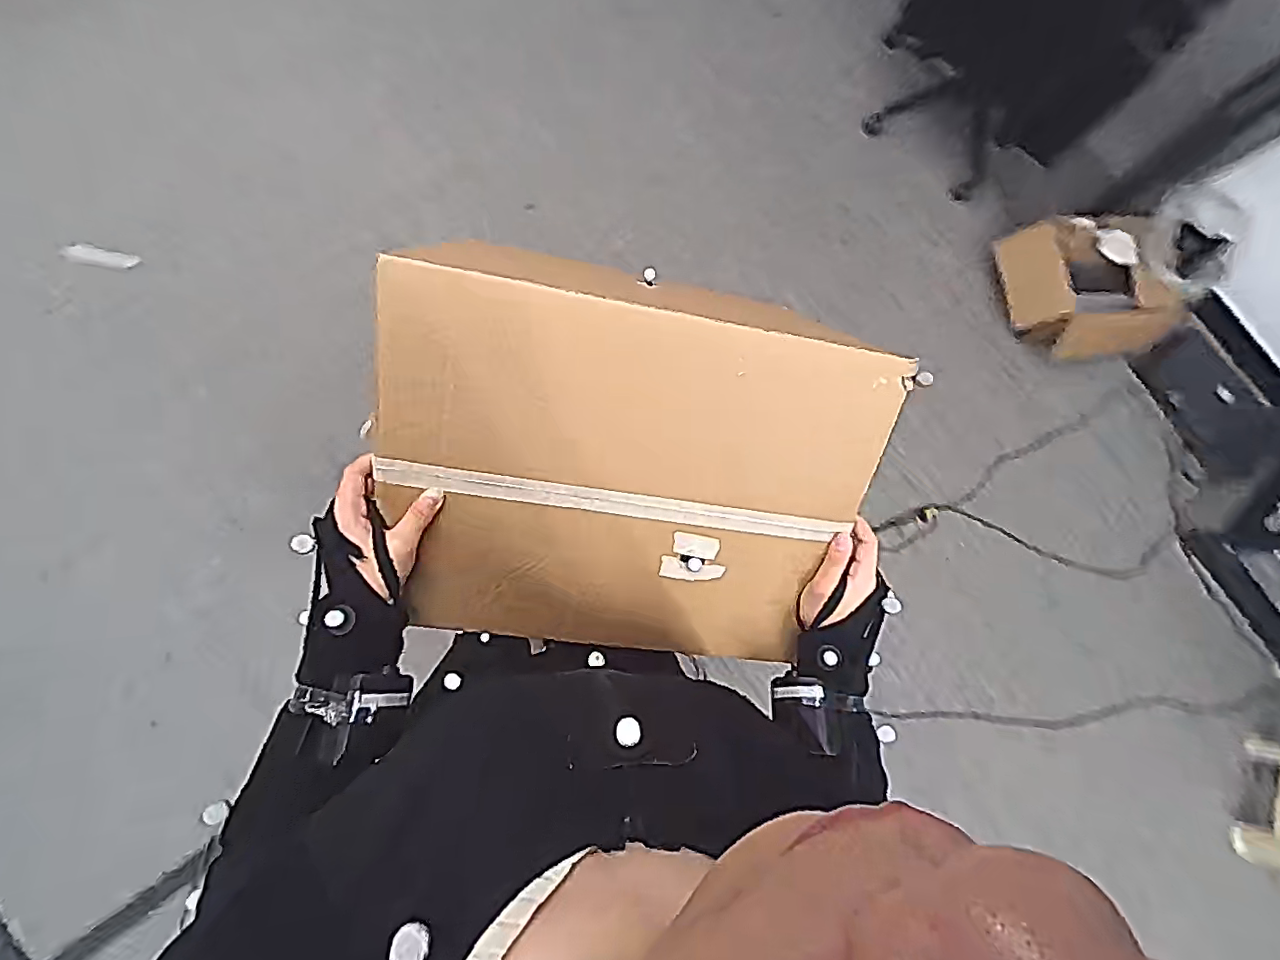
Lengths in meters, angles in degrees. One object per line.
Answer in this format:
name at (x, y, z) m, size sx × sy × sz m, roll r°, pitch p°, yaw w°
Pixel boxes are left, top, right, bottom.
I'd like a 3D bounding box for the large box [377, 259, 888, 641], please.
large box at (-0.032, -0.049, 0.602) m, size 0.408 × 0.320 × 0.320 m, roll 6°, pitch 115°, yaw -11°
